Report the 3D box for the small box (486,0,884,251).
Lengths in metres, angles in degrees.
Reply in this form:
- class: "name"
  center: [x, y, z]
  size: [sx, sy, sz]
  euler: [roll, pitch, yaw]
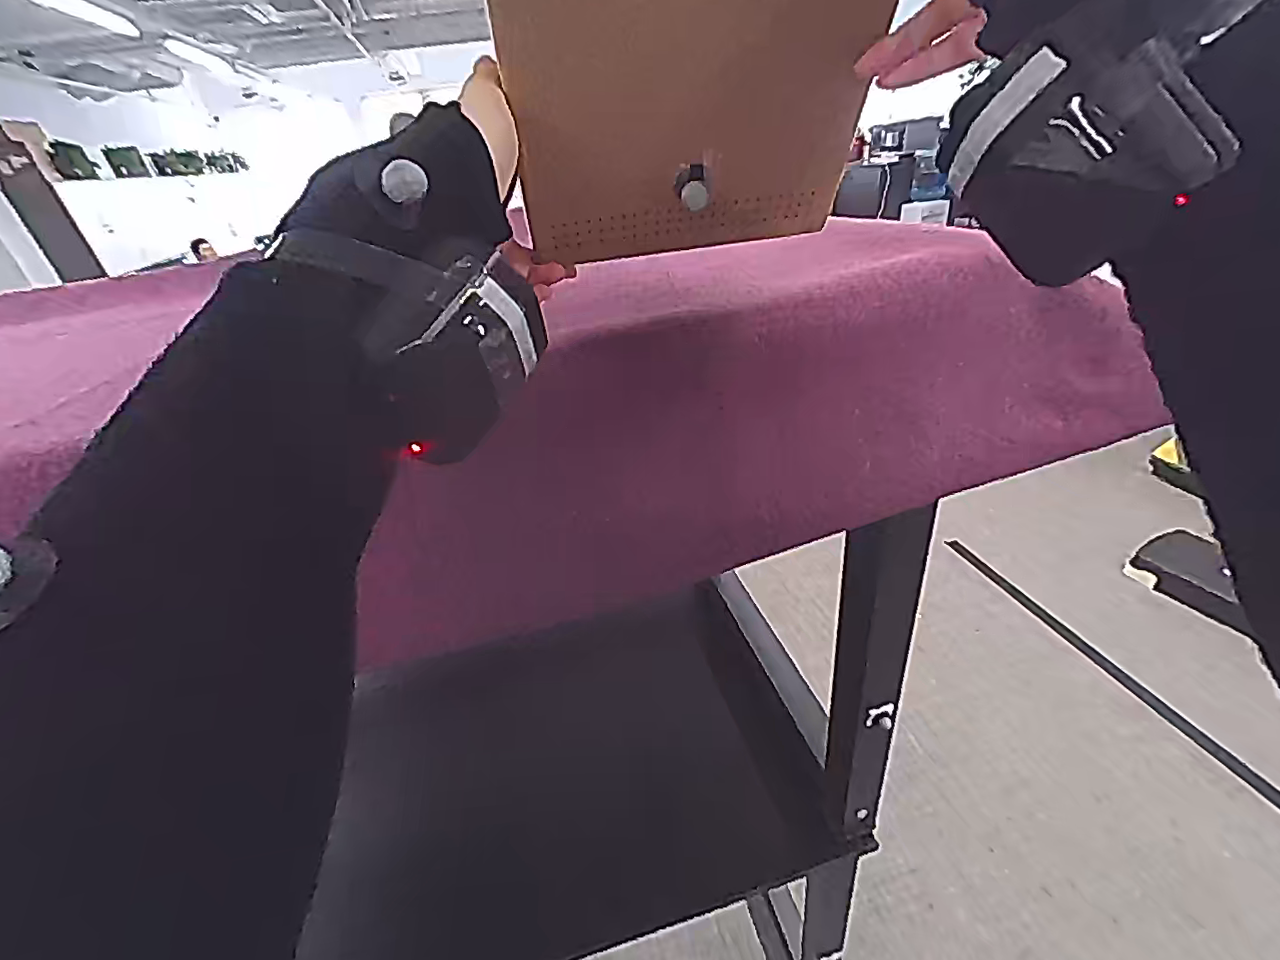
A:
- class: "small box"
  center: [0.010, -0.249, 0.285]
  size: [0.179, 0.176, 0.168]
  euler: [-11, 59, -6]
